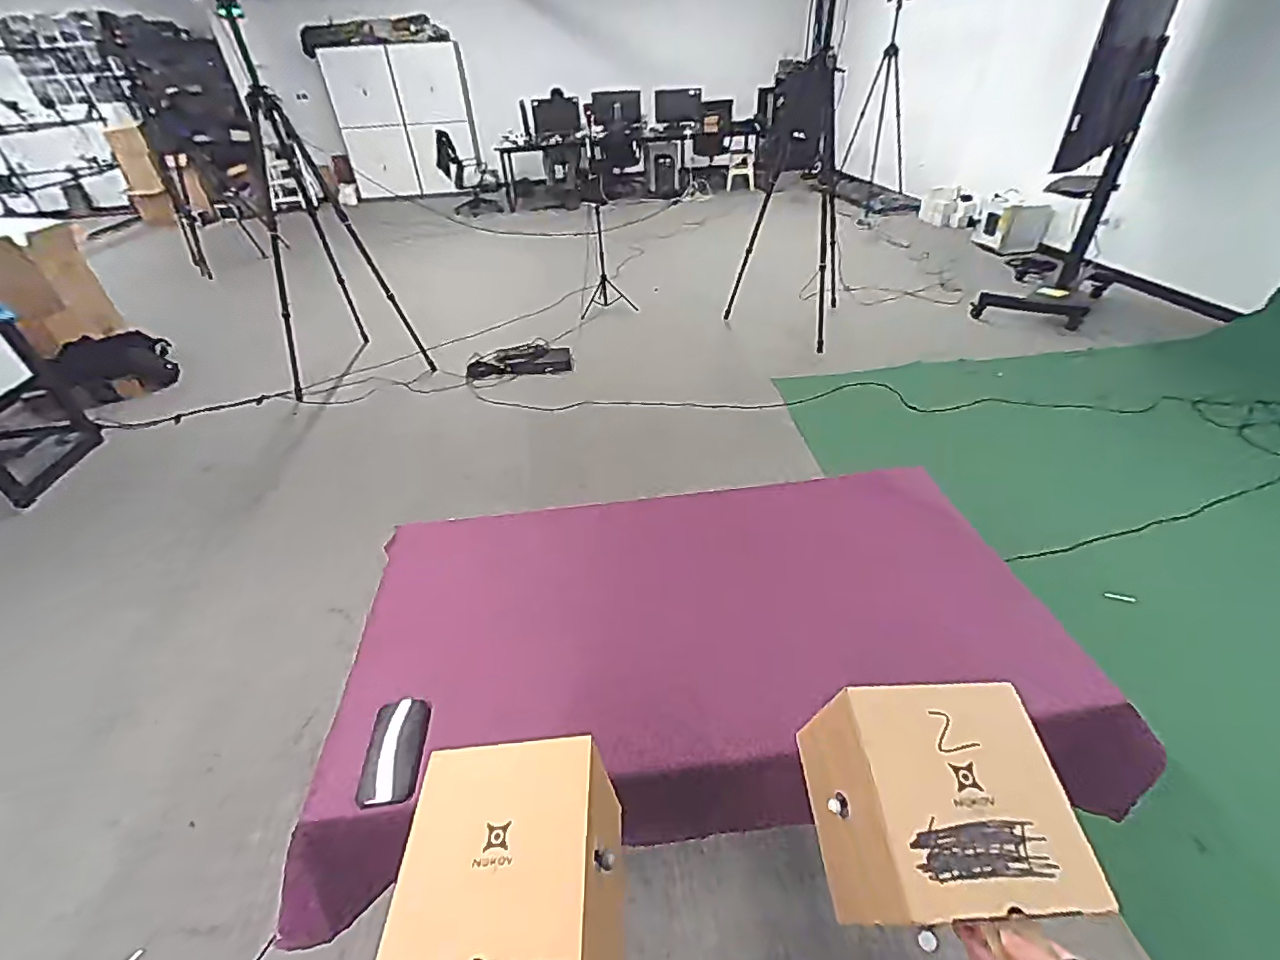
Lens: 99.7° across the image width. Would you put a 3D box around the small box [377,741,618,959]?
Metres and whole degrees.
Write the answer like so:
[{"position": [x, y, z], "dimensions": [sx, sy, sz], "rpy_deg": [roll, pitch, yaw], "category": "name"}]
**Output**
[{"position": [-0.116, 0.384, 0.525], "dimensions": [0.168, 0.176, 0.179], "rpy_deg": [-8, 39, 4], "category": "small box"}]
